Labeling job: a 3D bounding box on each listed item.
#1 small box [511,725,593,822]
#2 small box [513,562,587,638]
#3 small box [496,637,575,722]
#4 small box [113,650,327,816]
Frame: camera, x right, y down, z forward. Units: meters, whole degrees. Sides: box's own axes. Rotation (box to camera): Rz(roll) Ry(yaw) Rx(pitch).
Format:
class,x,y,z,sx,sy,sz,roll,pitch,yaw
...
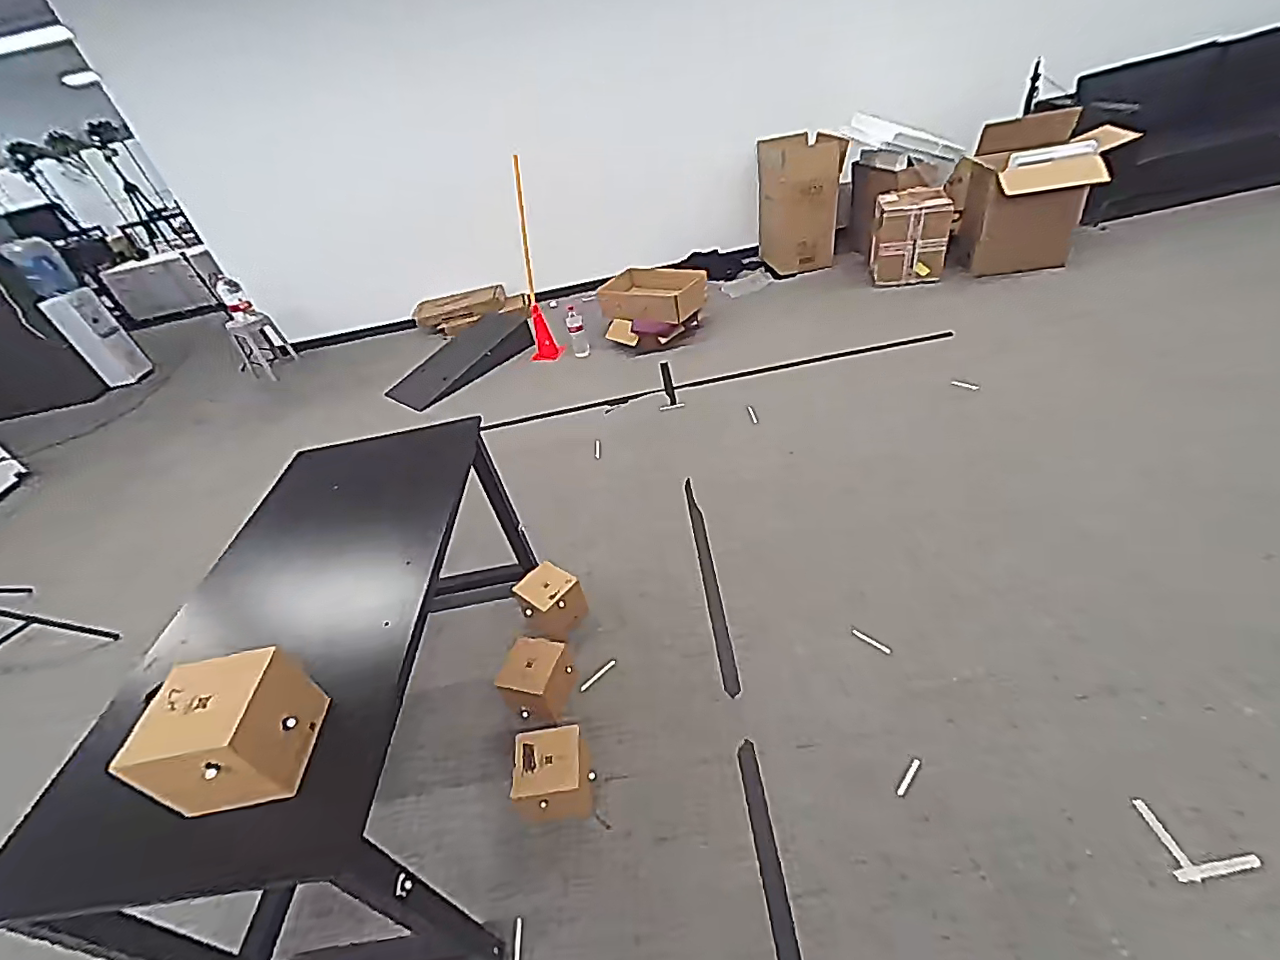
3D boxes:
class,x,y,z,sx,sy,sz,roll,pitch,yaw
small box,-0.228,0.786,1.443,0.179,0.176,0.168,-10,38,1
small box,-0.314,0.426,1.912,0.179,0.176,0.168,21,49,35
small box,-0.314,0.618,1.678,0.168,0.176,0.179,2,42,20
small box,-0.640,0.400,0.856,0.179,0.176,0.168,-12,37,2
